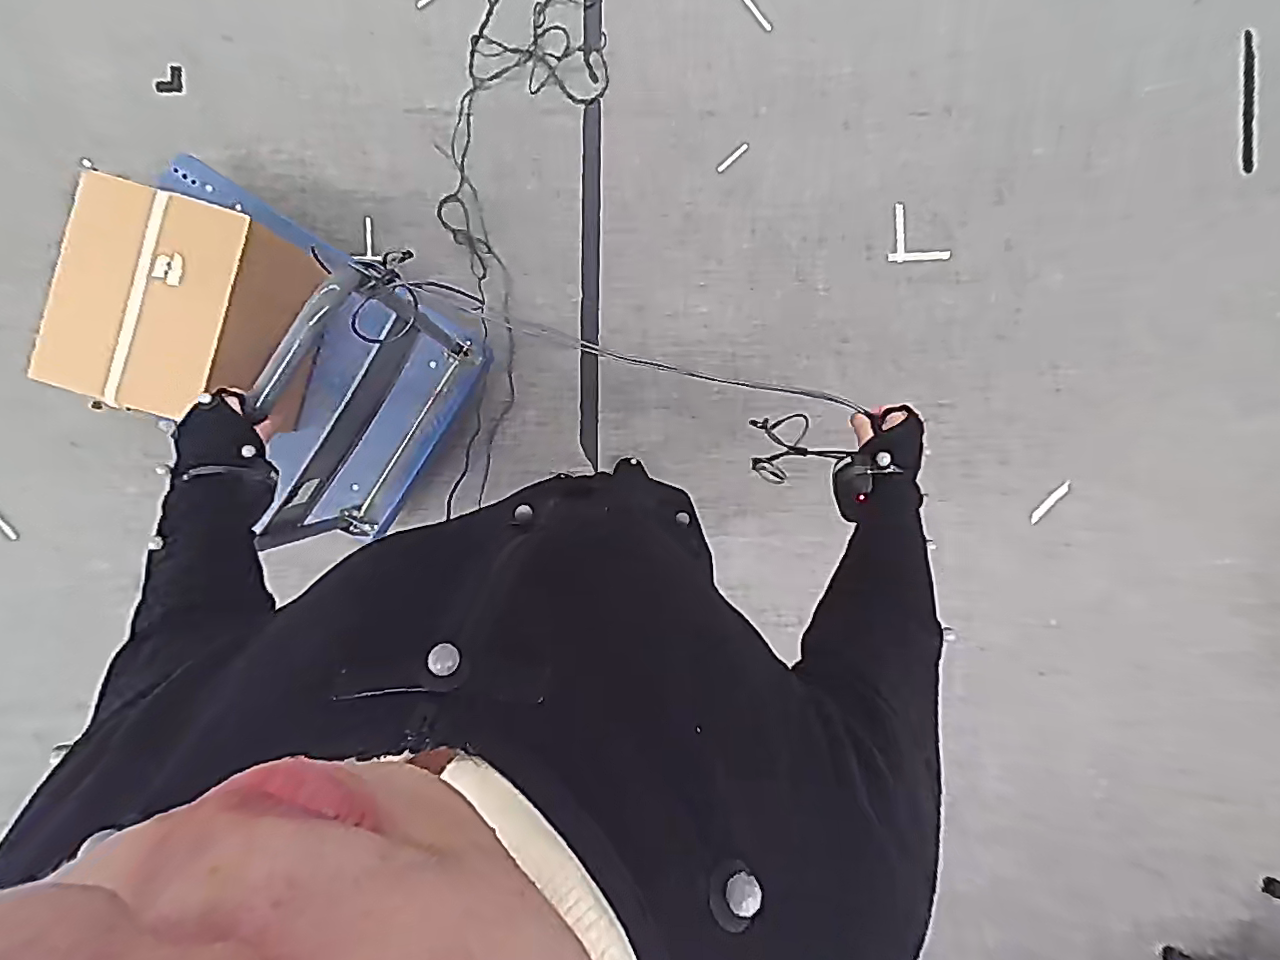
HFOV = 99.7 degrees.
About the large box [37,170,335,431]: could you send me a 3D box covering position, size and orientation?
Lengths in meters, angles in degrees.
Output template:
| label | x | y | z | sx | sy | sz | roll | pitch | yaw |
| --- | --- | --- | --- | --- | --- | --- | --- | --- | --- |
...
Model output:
| label | x | y | z | sx | sy | sz | roll | pitch | yaw |
| --- | --- | --- | --- | --- | --- | --- | --- | --- | --- |
| large box | -0.917 | -0.341 | 1.144 | 0.320 | 0.320 | 0.408 | 16 | 91 | -3 |
